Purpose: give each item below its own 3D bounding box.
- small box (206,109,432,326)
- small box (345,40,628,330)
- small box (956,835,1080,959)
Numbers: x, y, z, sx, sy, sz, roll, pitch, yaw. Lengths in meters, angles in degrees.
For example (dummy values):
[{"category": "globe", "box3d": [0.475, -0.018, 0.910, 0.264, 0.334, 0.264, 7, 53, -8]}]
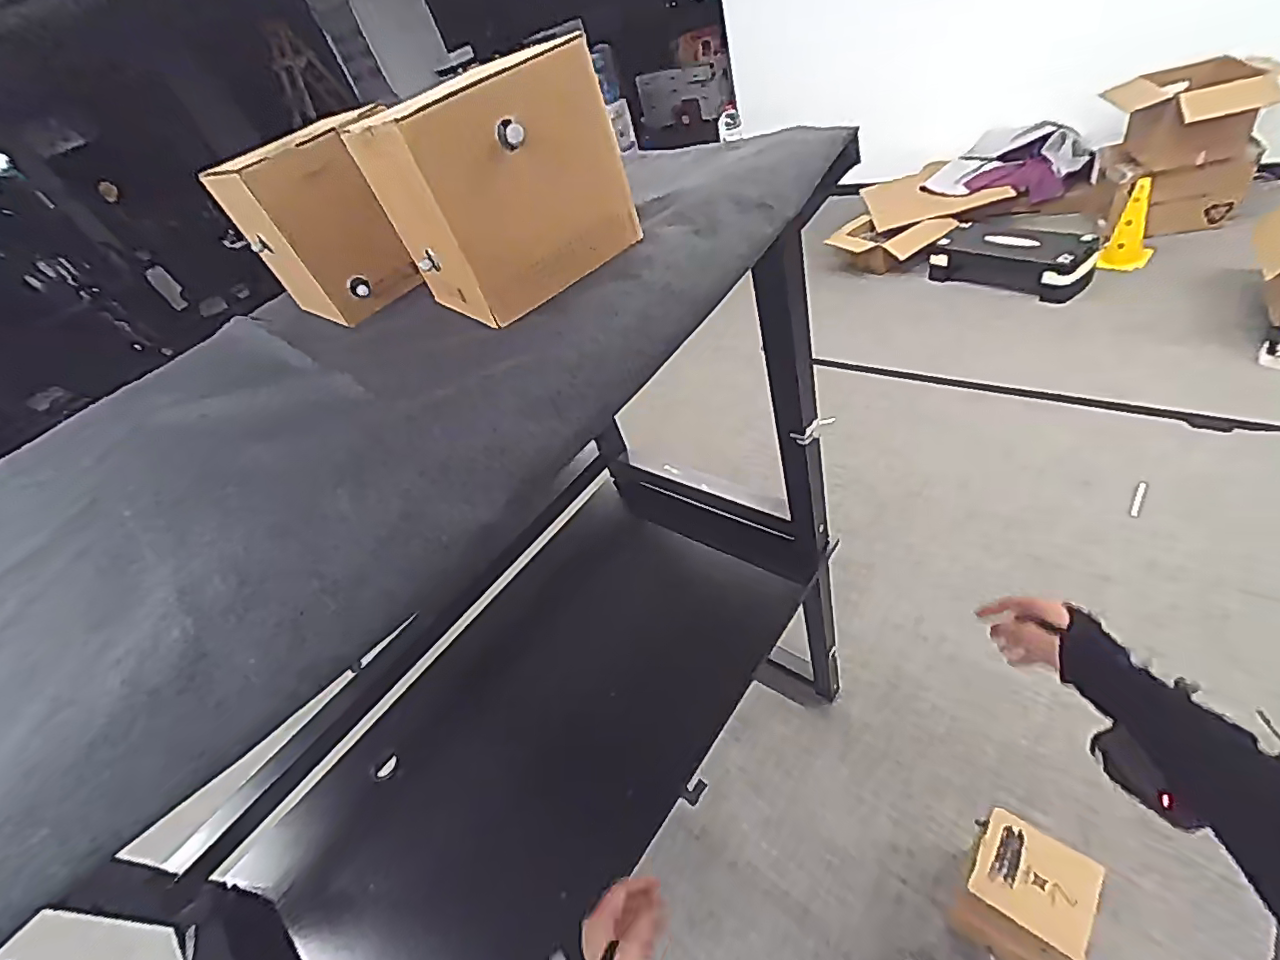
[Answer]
[{"category": "small box", "box3d": [-0.351, -0.301, 0.637, 0.179, 0.176, 0.168, 23, 59, 40]}, {"category": "small box", "box3d": [-0.130, -0.270, 0.508, 0.179, 0.176, 0.168, -40, 43, -17]}, {"category": "small box", "box3d": [0.771, 0.886, 1.116, 0.168, 0.176, 0.179, 18, 56, 36]}]
